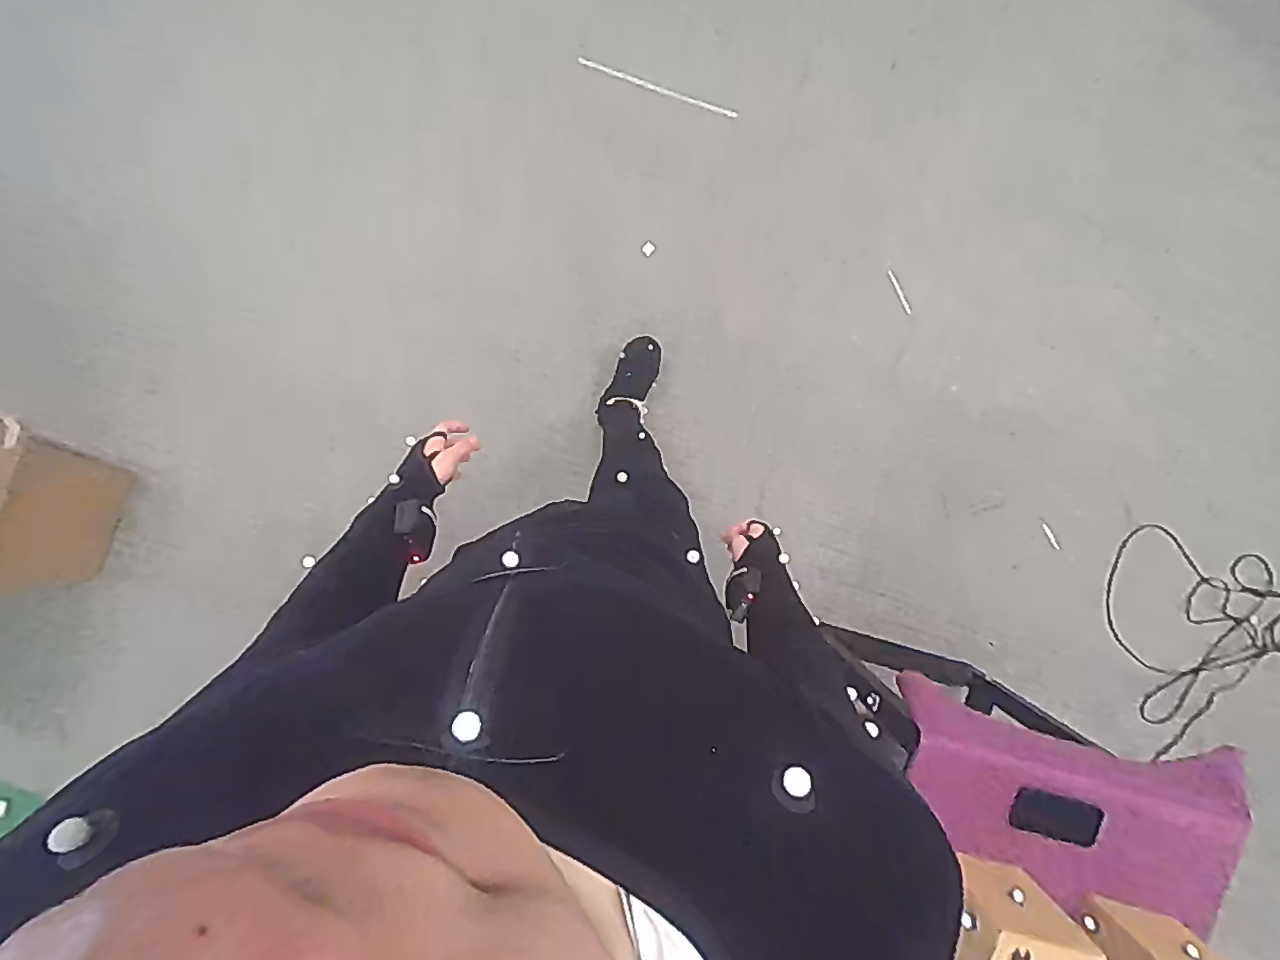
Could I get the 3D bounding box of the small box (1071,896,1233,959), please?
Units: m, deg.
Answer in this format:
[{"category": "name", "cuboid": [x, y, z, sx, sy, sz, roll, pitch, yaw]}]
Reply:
[{"category": "small box", "cuboid": [0.844, 0.818, 0.863, 0.179, 0.176, 0.168, 17, 93, -3]}]
